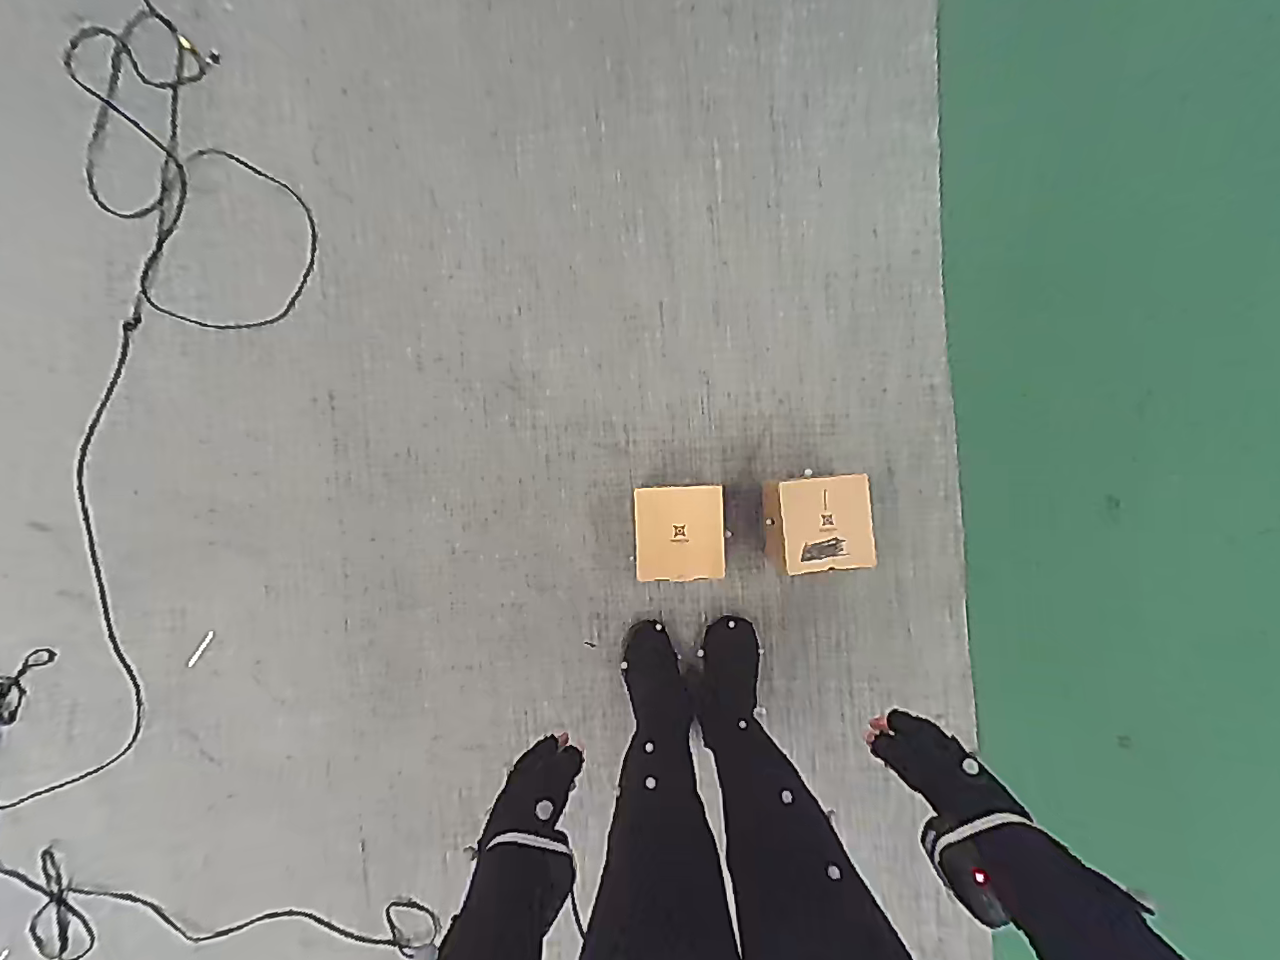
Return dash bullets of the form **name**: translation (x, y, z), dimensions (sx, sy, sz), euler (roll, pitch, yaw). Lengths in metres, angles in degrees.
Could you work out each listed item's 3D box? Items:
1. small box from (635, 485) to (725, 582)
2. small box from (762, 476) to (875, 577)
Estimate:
- **small box**: translation (0.075, 0.101, 1.073), dimensions (0.168, 0.176, 0.179), euler (-2, 90, 2)
- **small box**: translation (0.343, 0.084, 1.064), dimensions (0.168, 0.176, 0.179), euler (-5, 89, 2)
